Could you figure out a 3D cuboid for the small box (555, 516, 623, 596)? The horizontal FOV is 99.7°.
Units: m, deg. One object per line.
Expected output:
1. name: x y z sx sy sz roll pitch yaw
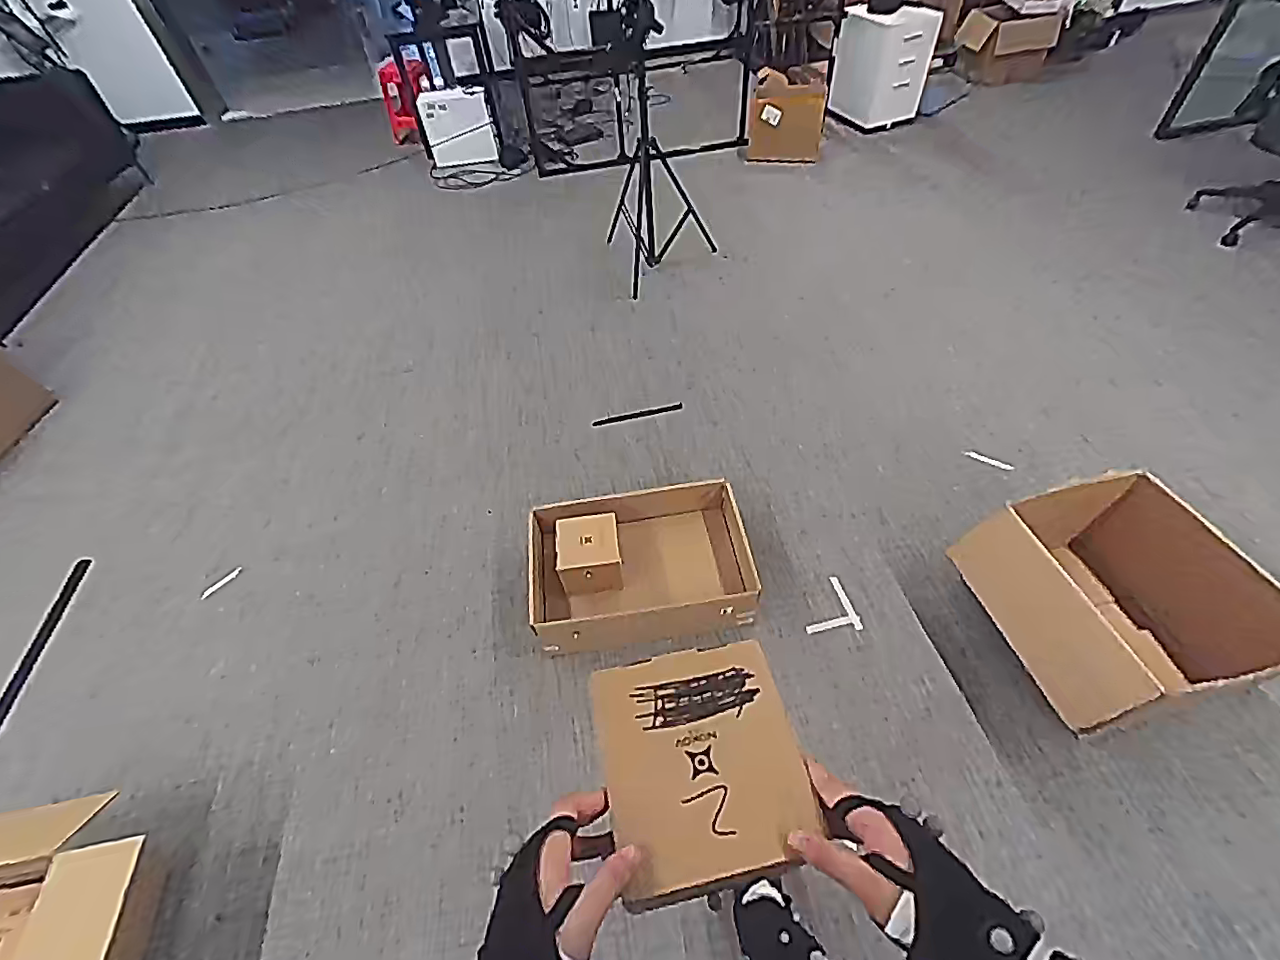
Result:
1. small box: -0.150 0.228 1.596 0.179 0.176 0.168 -7 53 -3
